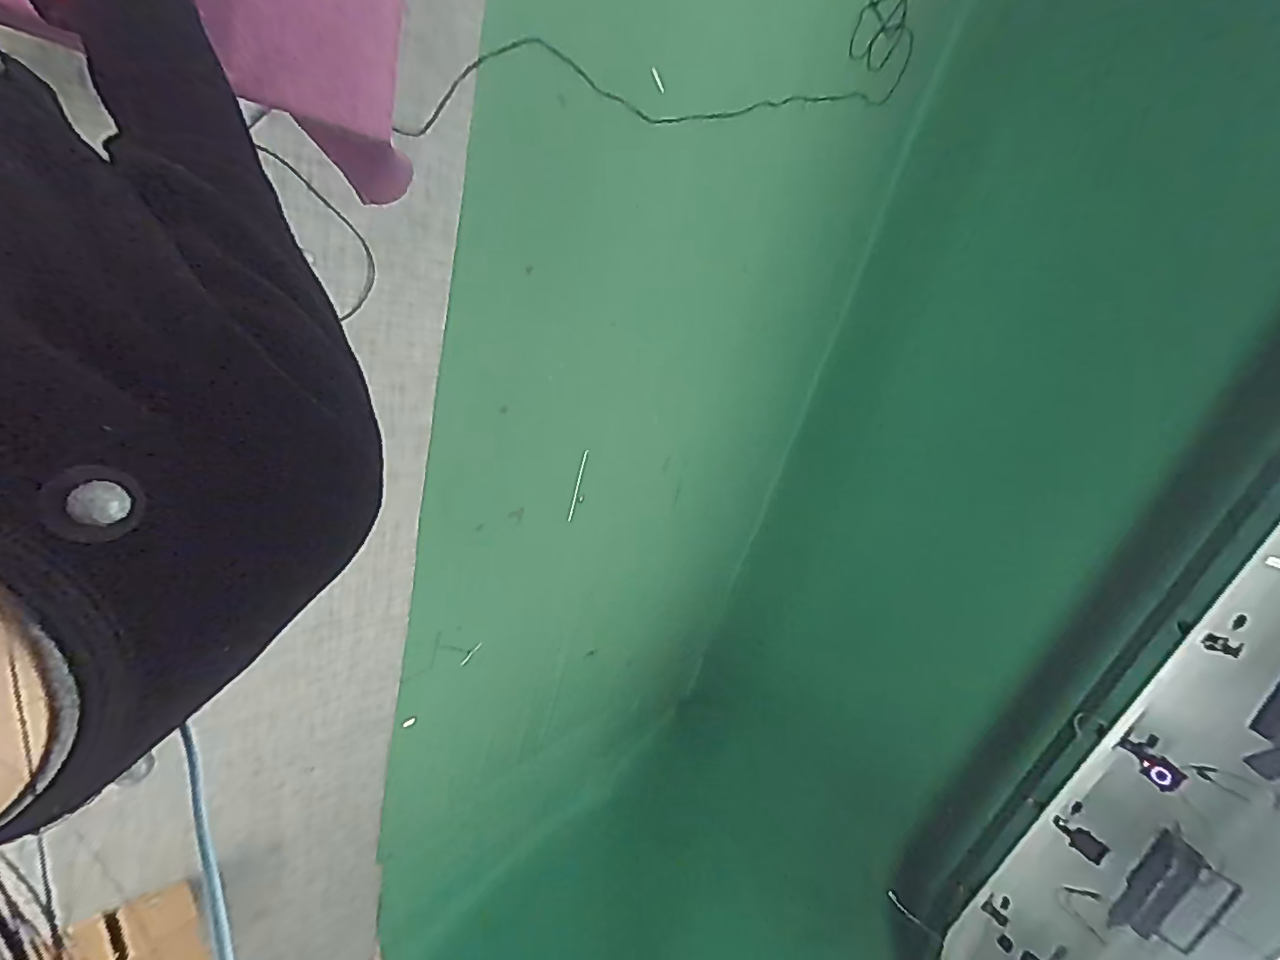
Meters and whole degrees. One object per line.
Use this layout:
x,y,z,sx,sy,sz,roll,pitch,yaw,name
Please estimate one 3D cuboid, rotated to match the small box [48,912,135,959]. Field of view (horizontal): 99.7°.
-1.635,1.462,1.618,0.168,0.176,0.179,-12,124,-50,small box
